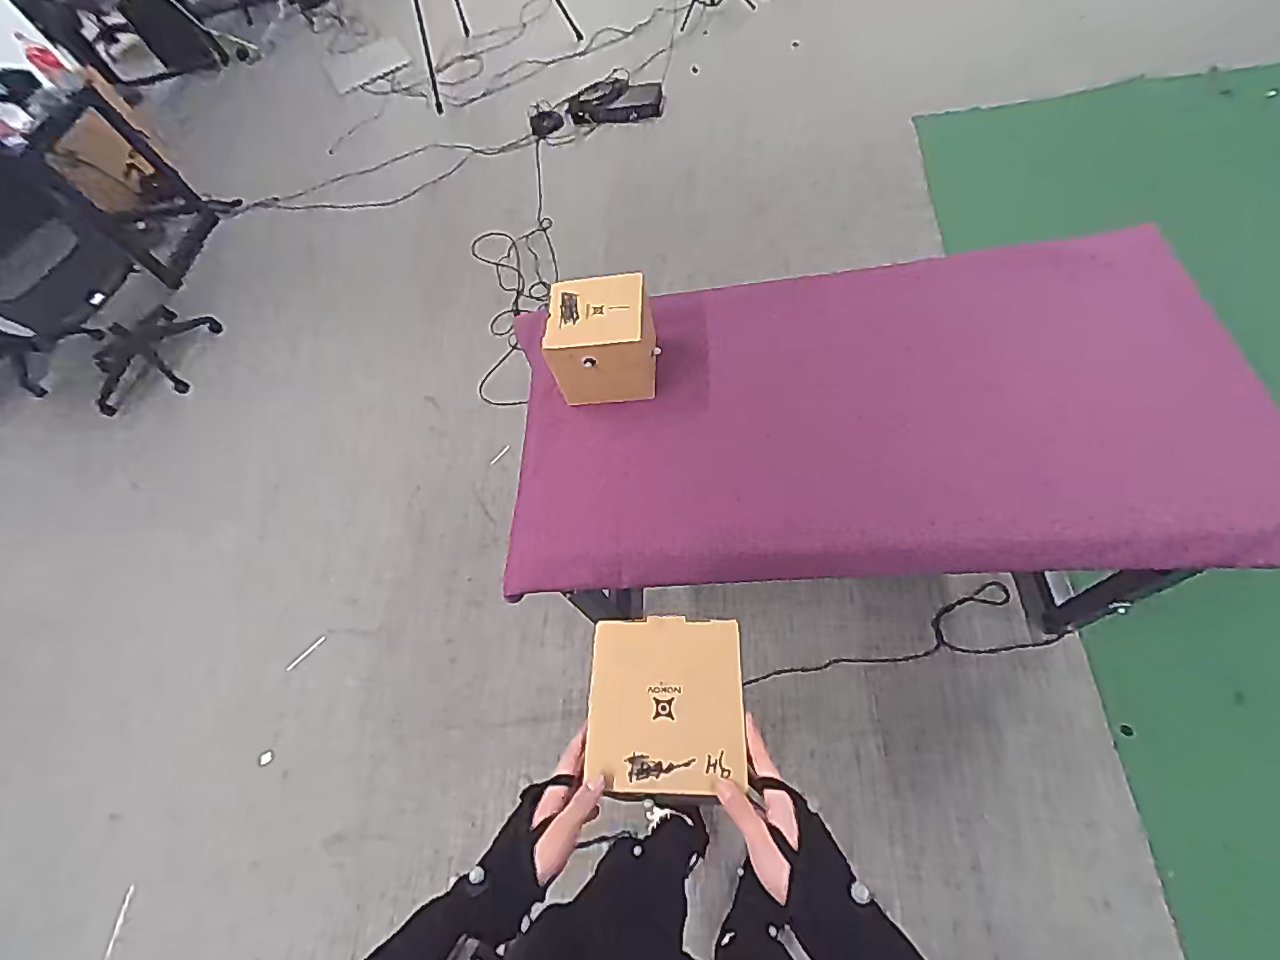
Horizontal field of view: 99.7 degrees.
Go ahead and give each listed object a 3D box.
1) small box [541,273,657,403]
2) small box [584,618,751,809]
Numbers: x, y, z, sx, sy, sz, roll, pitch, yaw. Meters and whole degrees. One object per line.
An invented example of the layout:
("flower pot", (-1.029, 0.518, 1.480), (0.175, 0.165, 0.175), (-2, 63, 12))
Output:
("small box", (-0.068, -0.259, 1.017), (0.179, 0.176, 0.168), (-3, 62, 9))
("small box", (0.039, 0.275, 0.633), (0.168, 0.176, 0.179), (-3, 56, 8))
